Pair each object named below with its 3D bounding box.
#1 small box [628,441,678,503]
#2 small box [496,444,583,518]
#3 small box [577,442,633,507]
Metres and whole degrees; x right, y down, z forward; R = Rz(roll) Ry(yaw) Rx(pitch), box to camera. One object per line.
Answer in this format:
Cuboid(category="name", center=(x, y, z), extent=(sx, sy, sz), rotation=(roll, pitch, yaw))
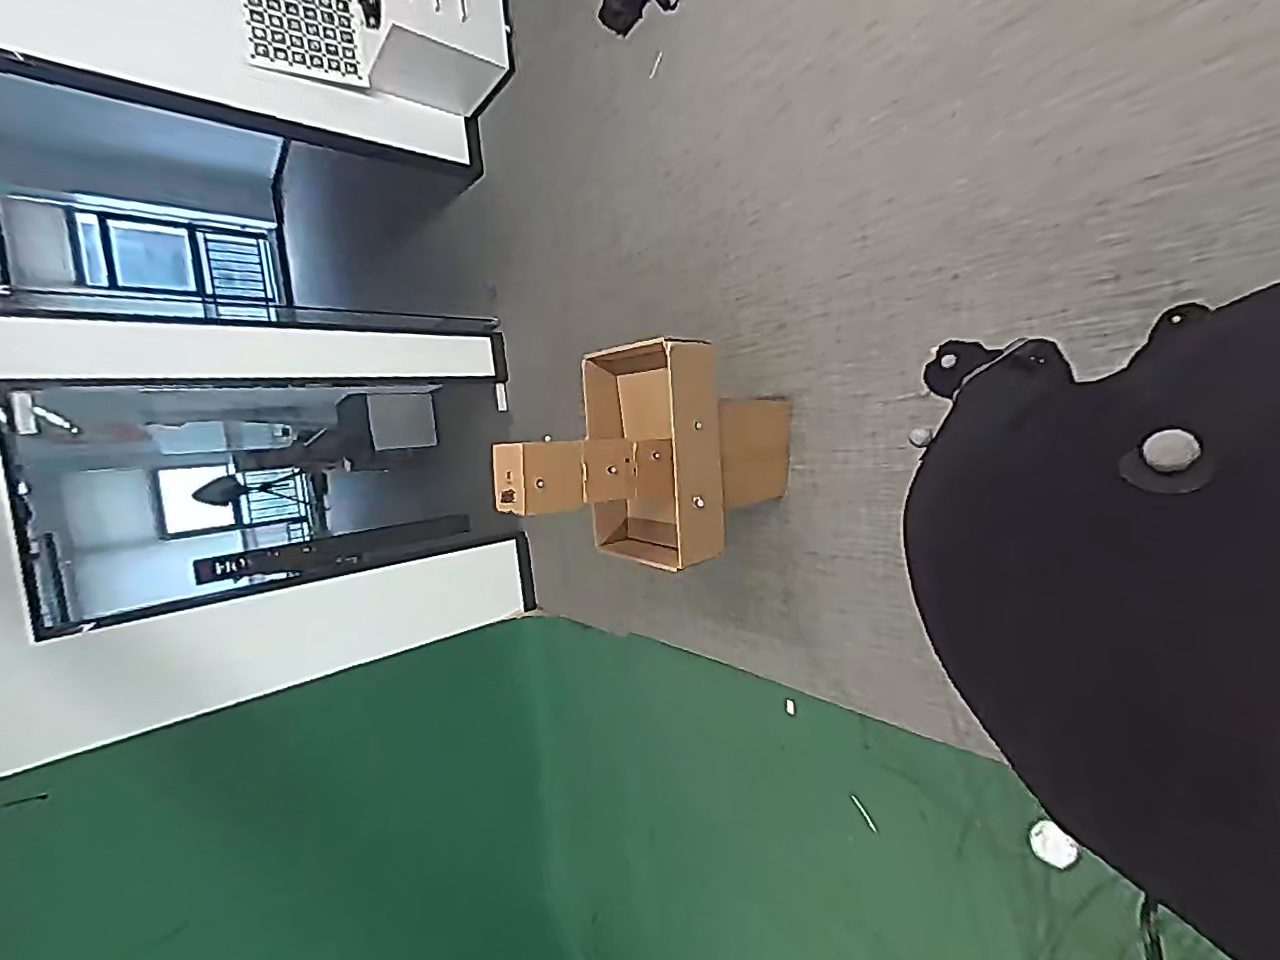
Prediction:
Cuboid(category="small box", center=(0.002, -0.029, 1.602), extent=(0.179, 0.176, 0.168), rotation=(4, 97, 52))
Cuboid(category="small box", center=(-0.259, -0.003, 1.404), extent=(0.168, 0.176, 0.179), rotation=(3, 96, 51))
Cuboid(category="small box", center=(-0.130, -0.019, 1.505), extent=(0.179, 0.176, 0.168), rotation=(0, 94, 50))
